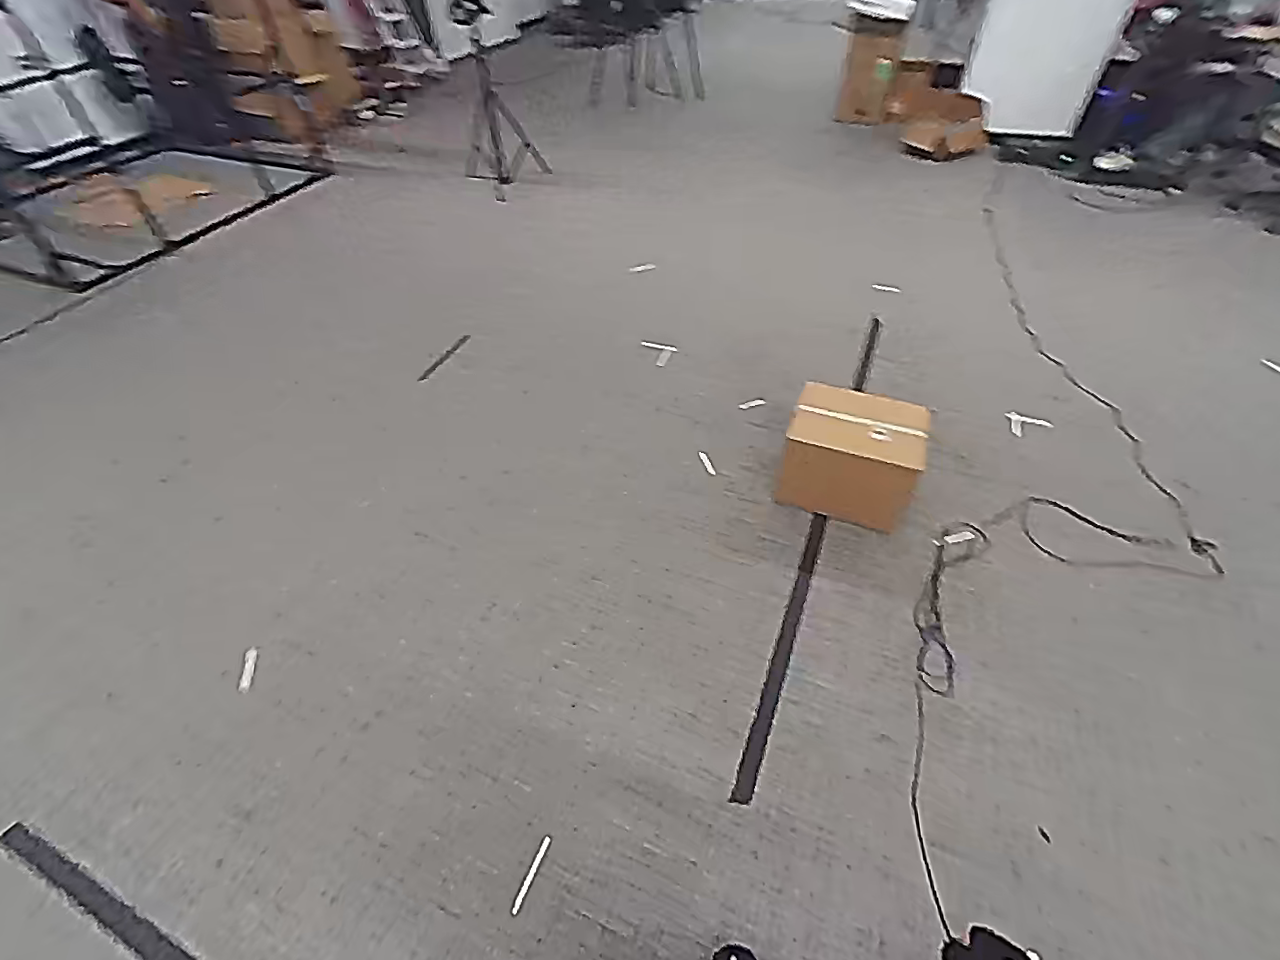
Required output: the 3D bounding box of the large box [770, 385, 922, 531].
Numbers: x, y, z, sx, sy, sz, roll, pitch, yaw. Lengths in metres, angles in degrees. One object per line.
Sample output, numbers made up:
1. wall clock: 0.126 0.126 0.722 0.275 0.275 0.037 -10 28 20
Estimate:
1. large box: 0.692 -0.078 1.847 0.408 0.320 0.320 16 50 17
